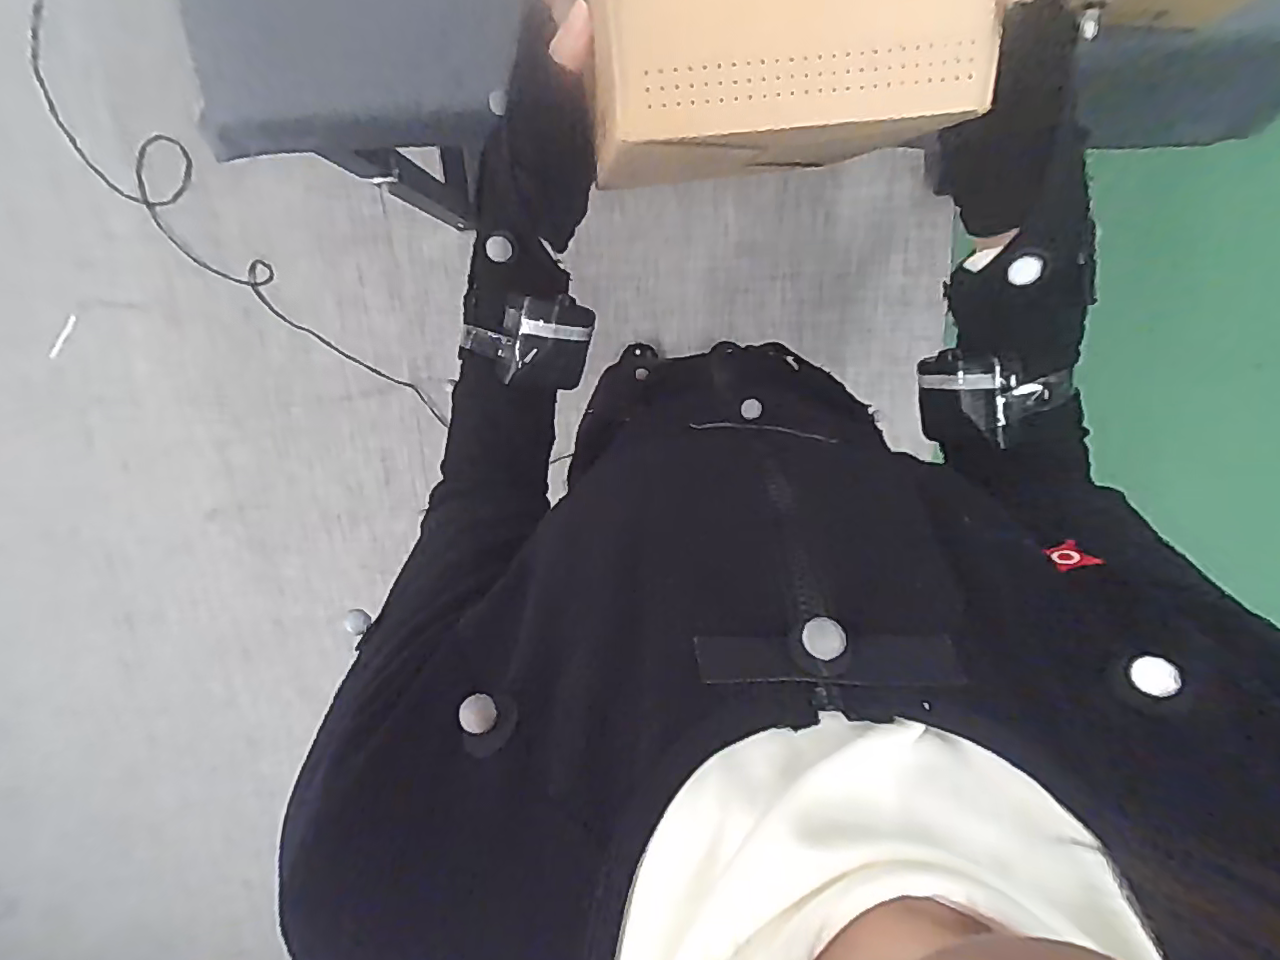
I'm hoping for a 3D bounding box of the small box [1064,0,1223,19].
[{"bbox_3d":[0.496,-0.539,0.458,0.168,0.176,0.179,5,104,1],"label":"small box"}]

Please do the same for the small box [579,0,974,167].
[{"bbox_3d":[0.057,-0.273,0.286,0.179,0.168,0.176,-9,115,-5],"label":"small box"}]
